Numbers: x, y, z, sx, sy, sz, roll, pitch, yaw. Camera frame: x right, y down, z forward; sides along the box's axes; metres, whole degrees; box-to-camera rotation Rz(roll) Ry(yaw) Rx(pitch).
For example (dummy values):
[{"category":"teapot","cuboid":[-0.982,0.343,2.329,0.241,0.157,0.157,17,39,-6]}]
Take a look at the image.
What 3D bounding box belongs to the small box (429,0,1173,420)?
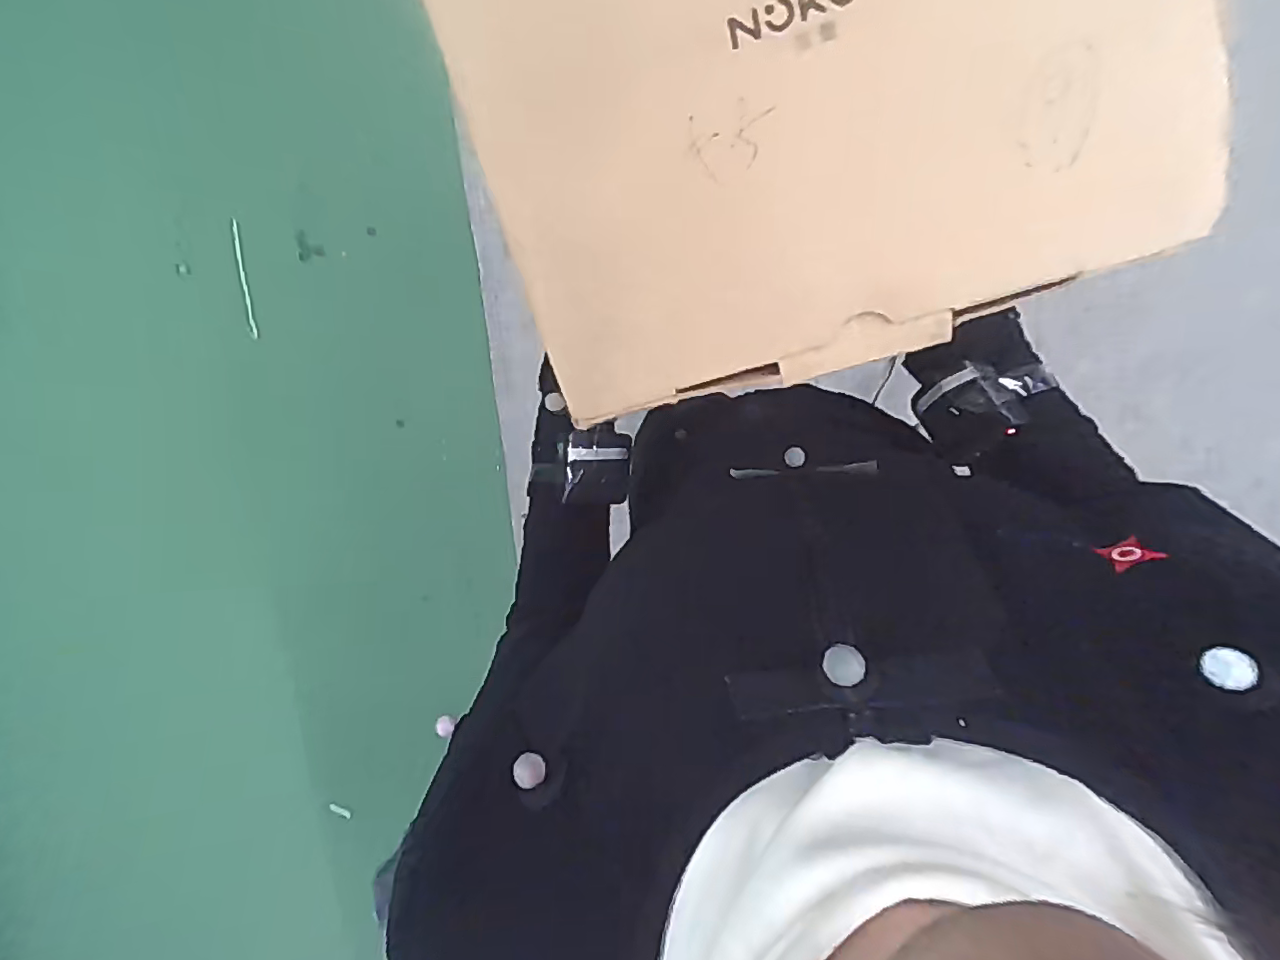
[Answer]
[{"category":"small box","cuboid":[0.039,-0.142,0.201,0.168,0.176,0.179,-15,108,9]}]
